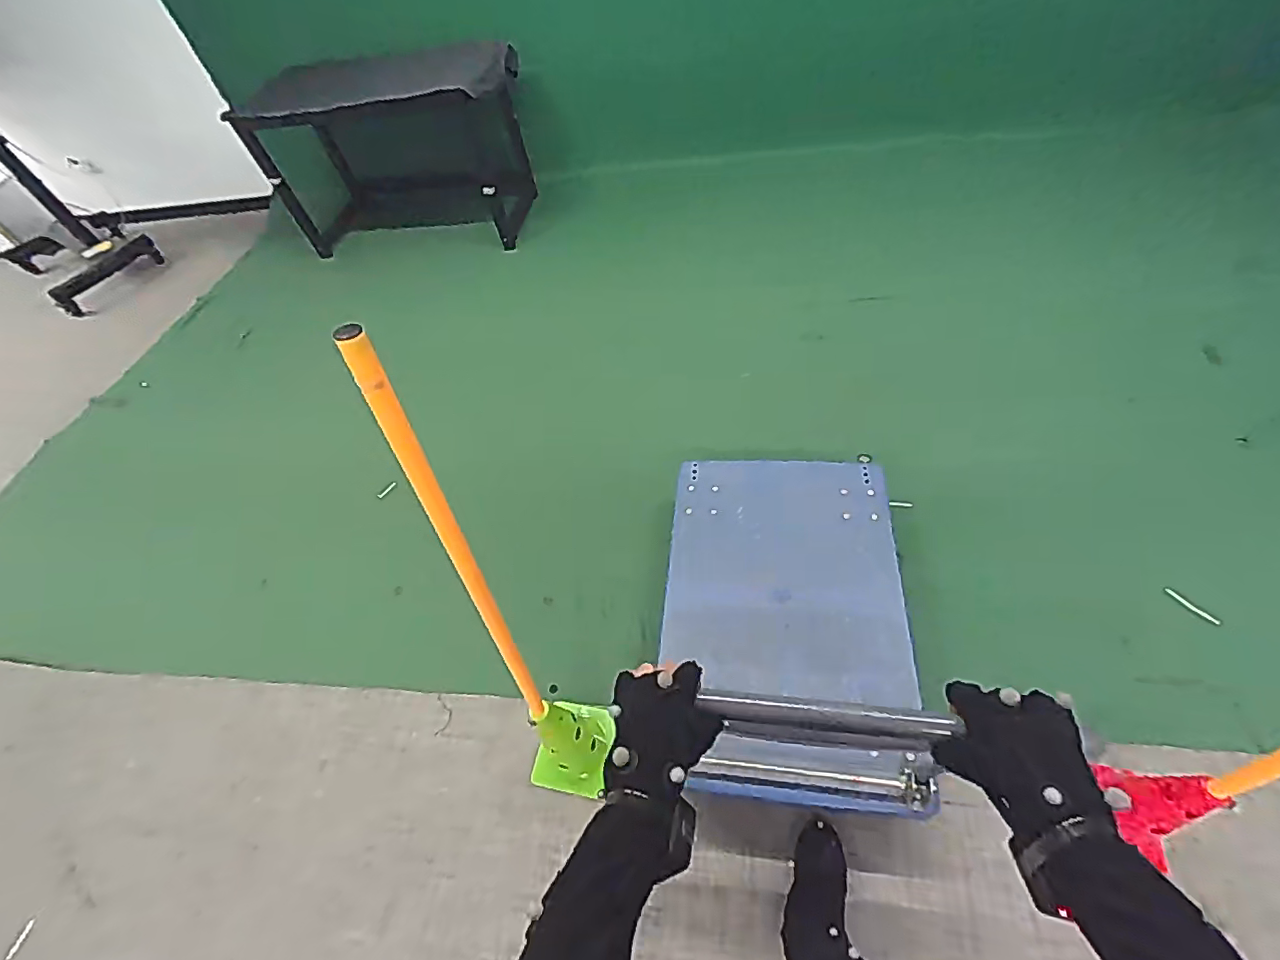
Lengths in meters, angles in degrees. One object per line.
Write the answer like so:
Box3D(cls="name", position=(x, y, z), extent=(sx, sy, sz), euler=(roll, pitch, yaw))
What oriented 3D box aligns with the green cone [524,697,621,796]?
Box3D(cls="green cone", position=(-0.183, 0.562, 1.225), extent=(0.202, 0.368, 0.200), euler=(4, 53, 14))
